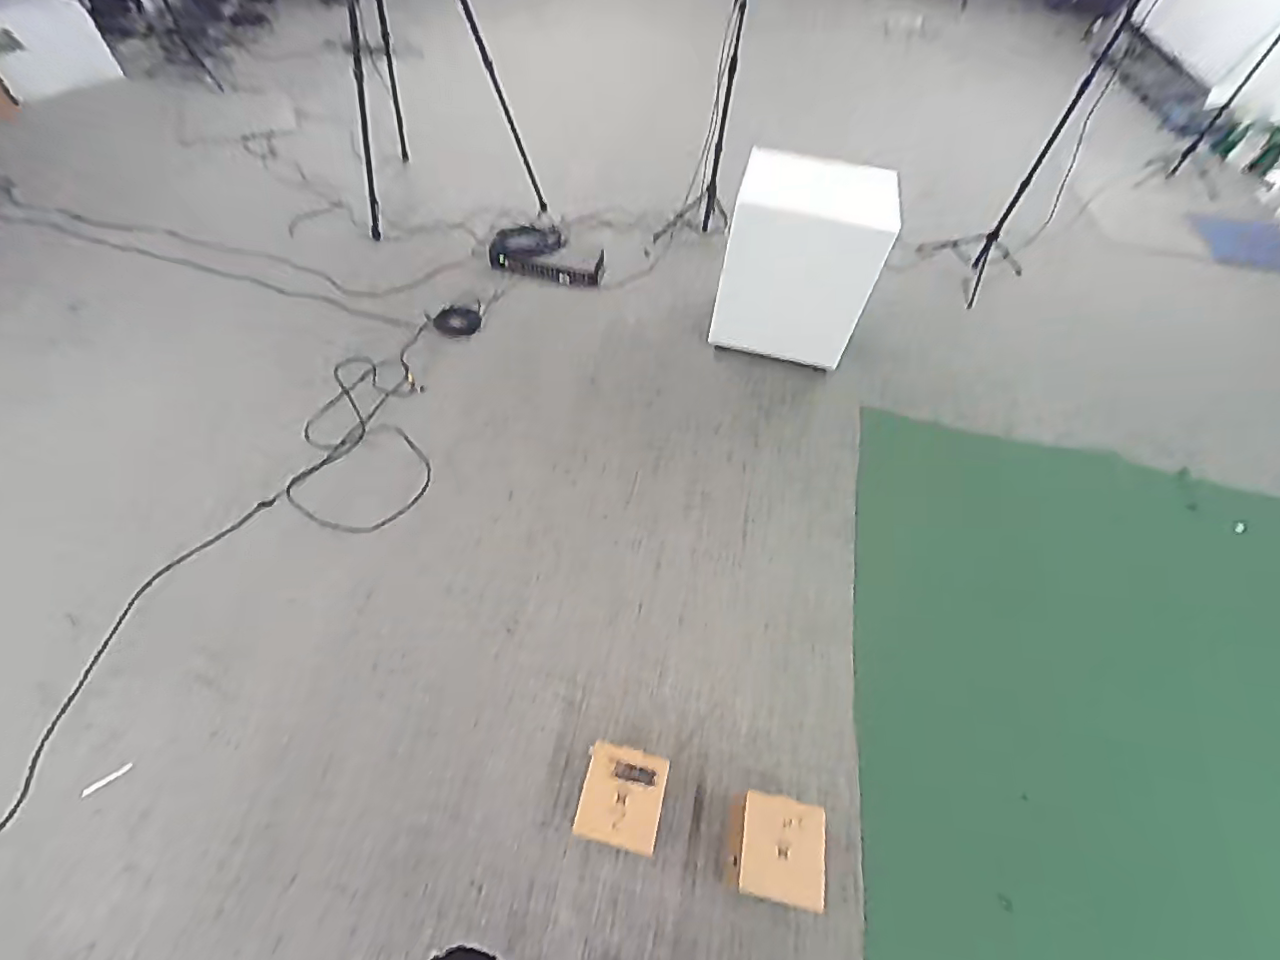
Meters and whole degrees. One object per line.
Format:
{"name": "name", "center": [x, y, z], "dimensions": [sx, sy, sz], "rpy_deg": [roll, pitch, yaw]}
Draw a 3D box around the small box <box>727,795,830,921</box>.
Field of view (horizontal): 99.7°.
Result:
{"name": "small box", "center": [0.283, 0.779, 1.120], "dimensions": [0.168, 0.176, 0.179], "rpy_deg": [13, 54, 4]}
